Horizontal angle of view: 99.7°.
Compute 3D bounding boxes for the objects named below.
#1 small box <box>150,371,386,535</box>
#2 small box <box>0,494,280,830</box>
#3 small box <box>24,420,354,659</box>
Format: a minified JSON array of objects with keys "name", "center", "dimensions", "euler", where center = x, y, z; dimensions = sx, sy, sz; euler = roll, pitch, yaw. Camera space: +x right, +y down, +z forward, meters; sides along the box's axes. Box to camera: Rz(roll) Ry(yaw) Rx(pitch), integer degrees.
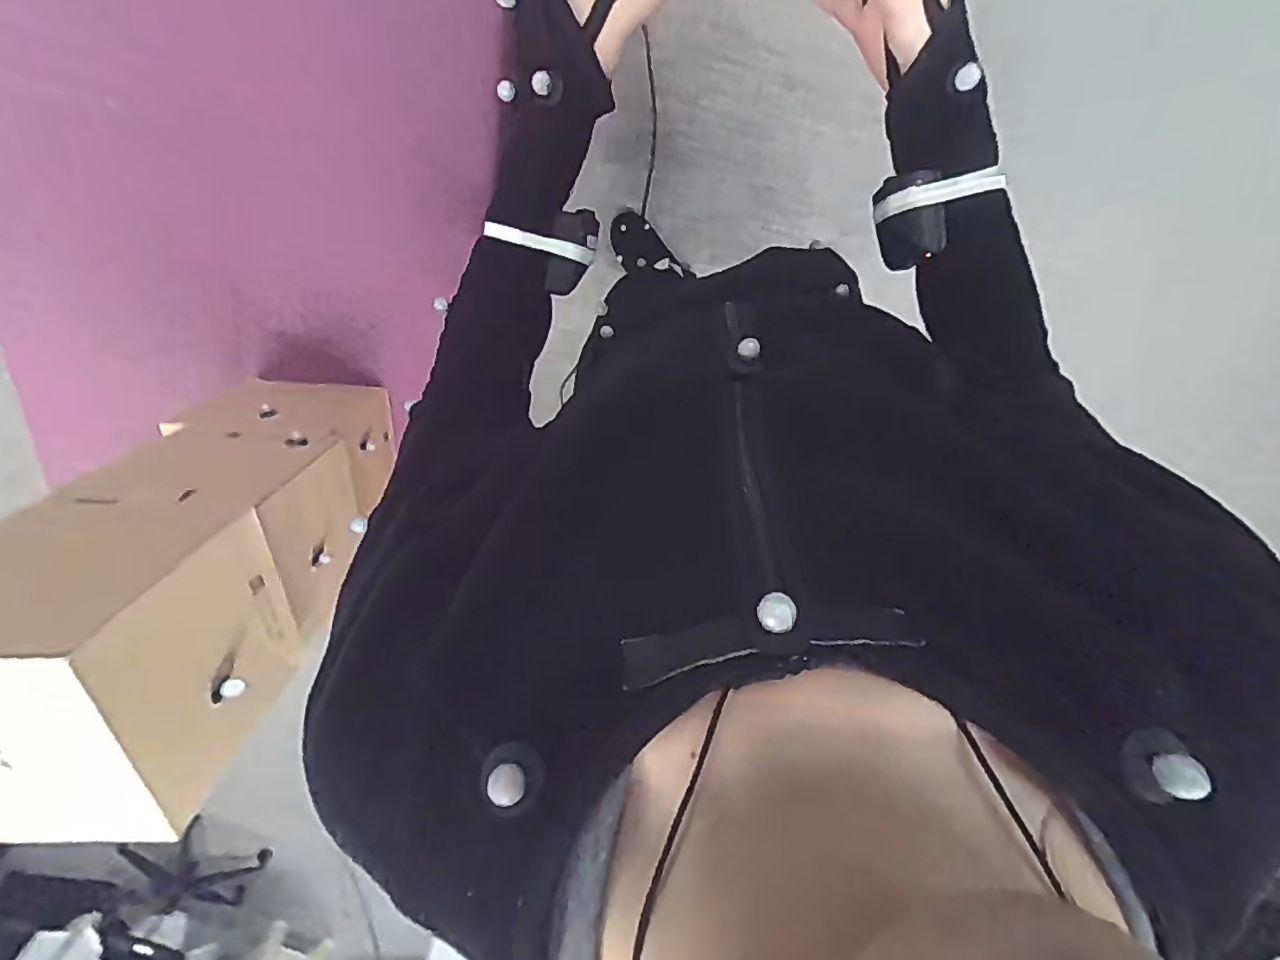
[{"name":"small box","center":[-0.439,-0.031,0.681],"dimensions":[0.179,0.176,0.168],"euler":[5,117,-2]},{"name":"small box","center":[-0.401,0.119,0.392],"dimensions":[0.179,0.176,0.168],"euler":[1,117,0]},{"name":"small box","center":[-0.414,0.050,0.539],"dimensions":[0.168,0.176,0.179],"euler":[4,118,-2]}]
